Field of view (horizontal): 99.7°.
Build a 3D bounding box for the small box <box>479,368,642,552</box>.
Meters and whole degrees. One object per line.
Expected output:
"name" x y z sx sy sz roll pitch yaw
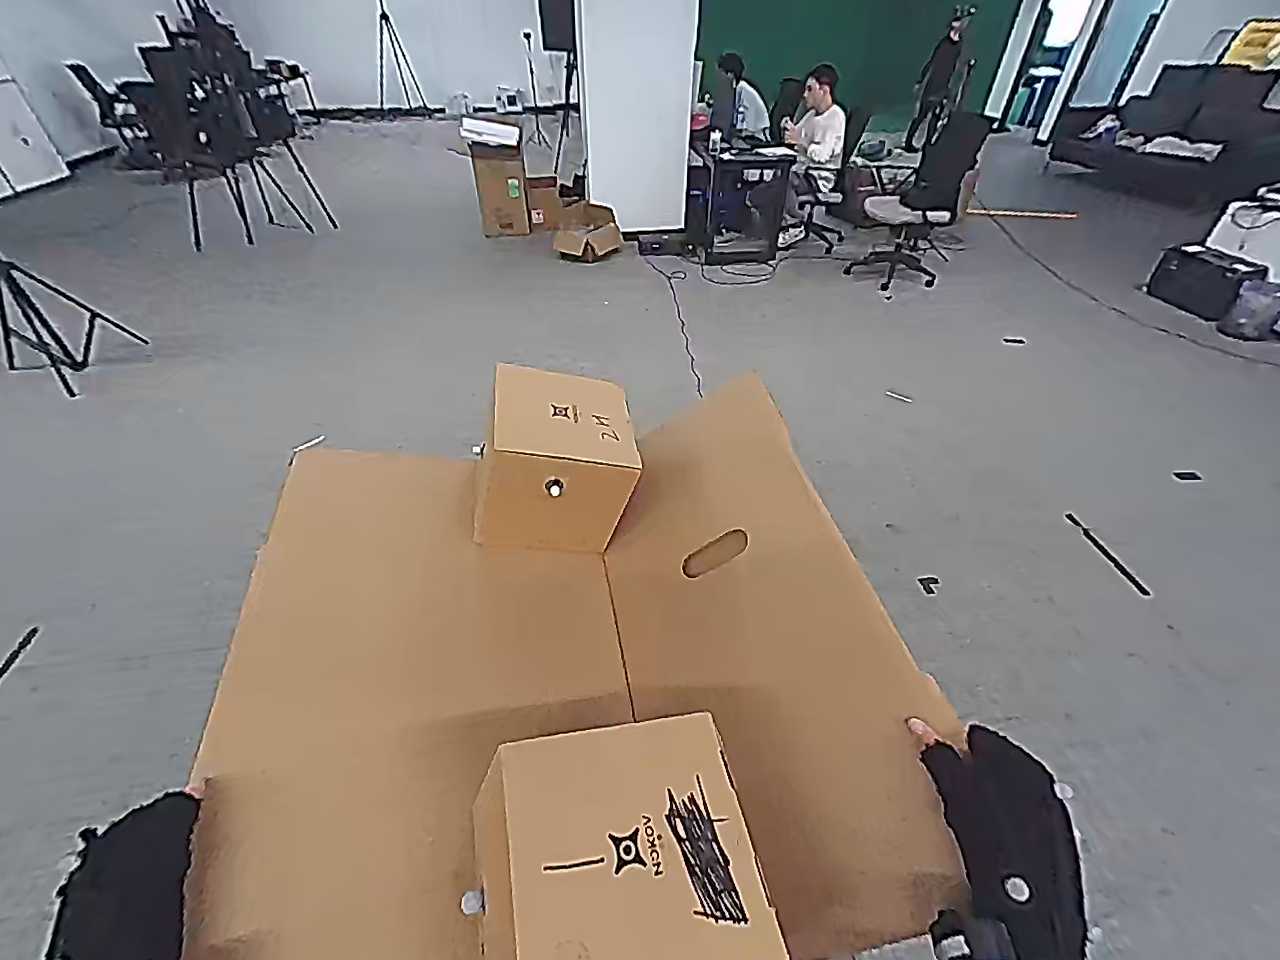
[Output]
"small box" -0.114 -0.020 0.719 0.179 0.176 0.168 8 44 -20
